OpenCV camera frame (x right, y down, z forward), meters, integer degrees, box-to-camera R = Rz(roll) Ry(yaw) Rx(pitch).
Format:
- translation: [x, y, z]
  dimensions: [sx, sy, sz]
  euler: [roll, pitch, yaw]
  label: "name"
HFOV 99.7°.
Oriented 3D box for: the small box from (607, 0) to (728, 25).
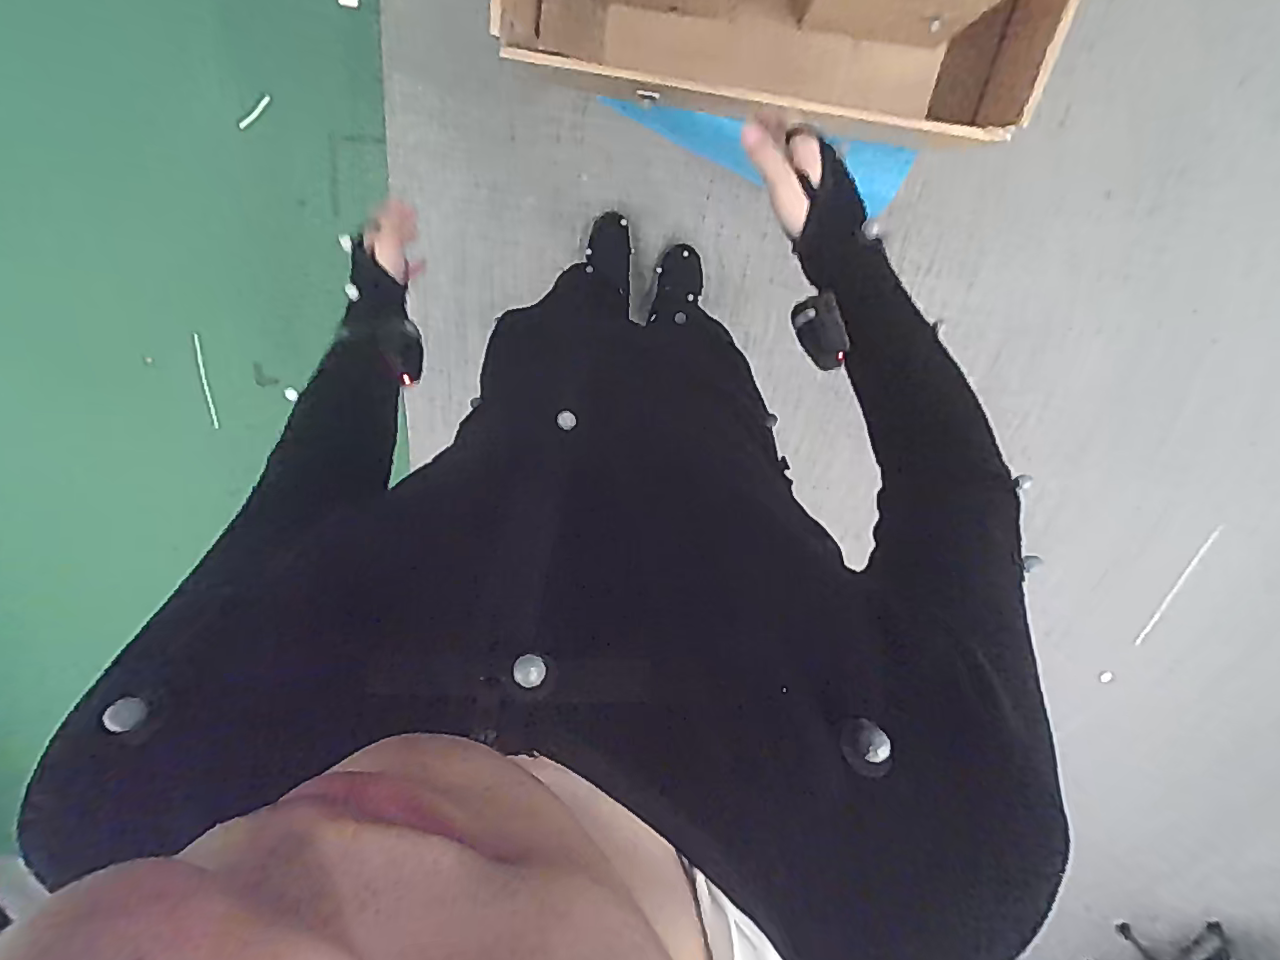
- translation: [0.034, -0.641, 0.584]
  dimensions: [0.168, 0.176, 0.179]
  euler: [10, 115, 1]
  label: "small box"
